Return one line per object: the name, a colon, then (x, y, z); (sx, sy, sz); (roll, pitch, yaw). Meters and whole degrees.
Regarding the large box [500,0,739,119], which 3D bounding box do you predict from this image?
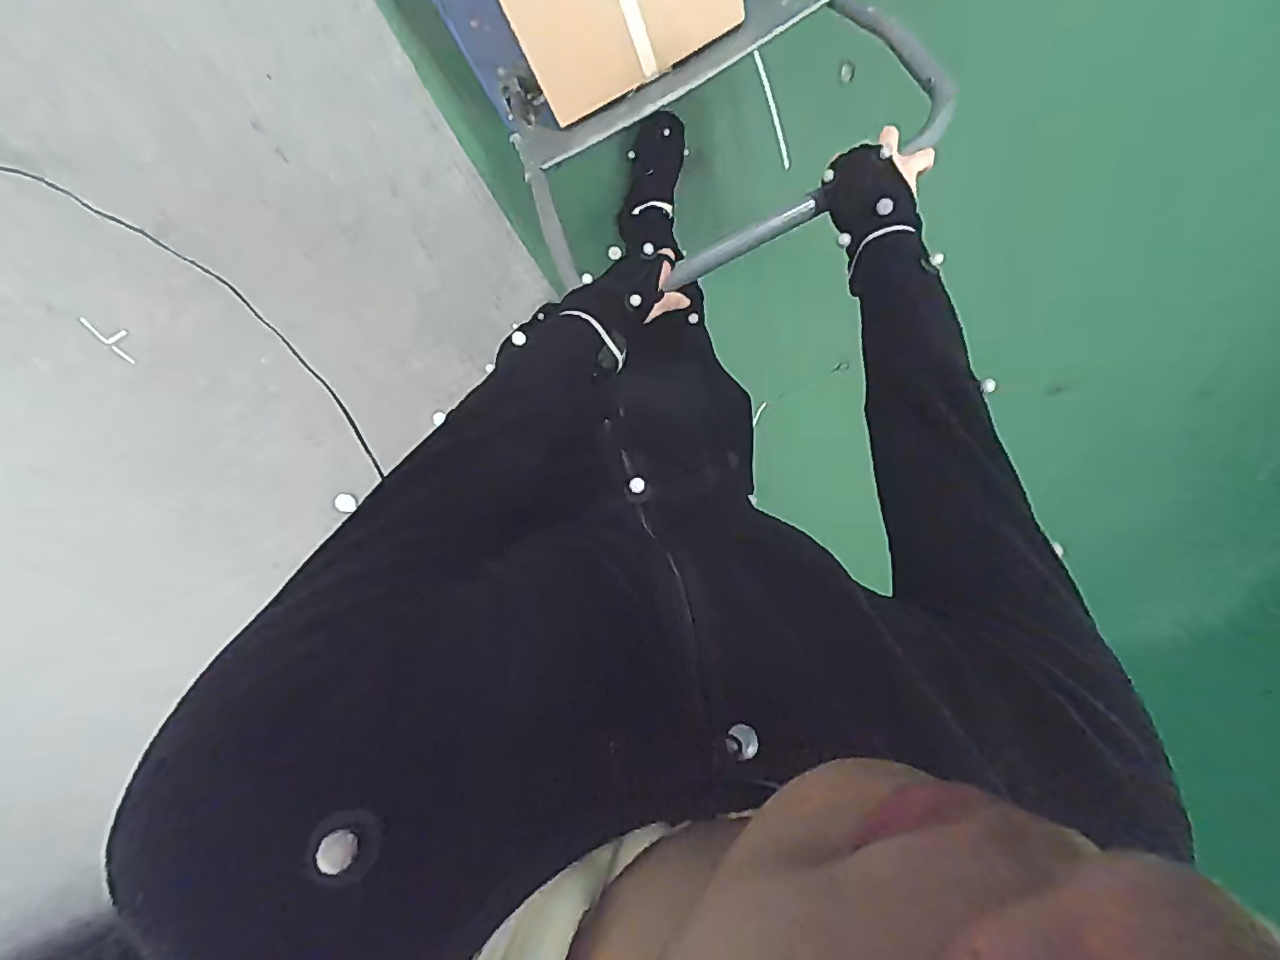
large box: (-0.095, -0.846, 0.781); (0.320, 0.320, 0.408); (-25, 139, 10)
